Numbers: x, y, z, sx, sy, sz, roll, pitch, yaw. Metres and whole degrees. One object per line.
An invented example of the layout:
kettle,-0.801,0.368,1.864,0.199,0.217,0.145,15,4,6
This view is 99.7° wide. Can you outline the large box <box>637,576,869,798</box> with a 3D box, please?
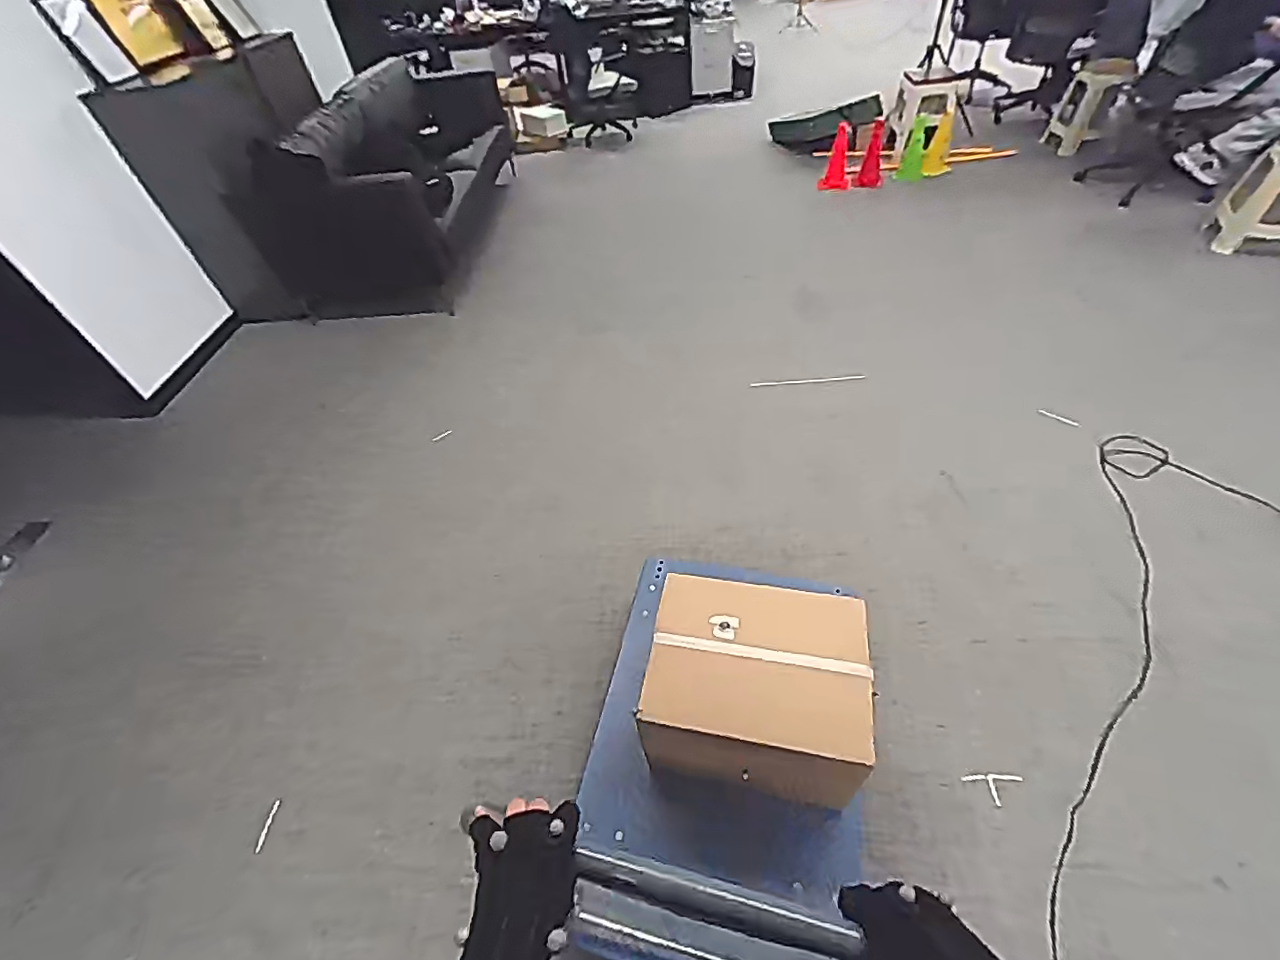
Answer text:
large box,0.236,0.433,1.140,0.408,0.320,0.320,5,48,14
